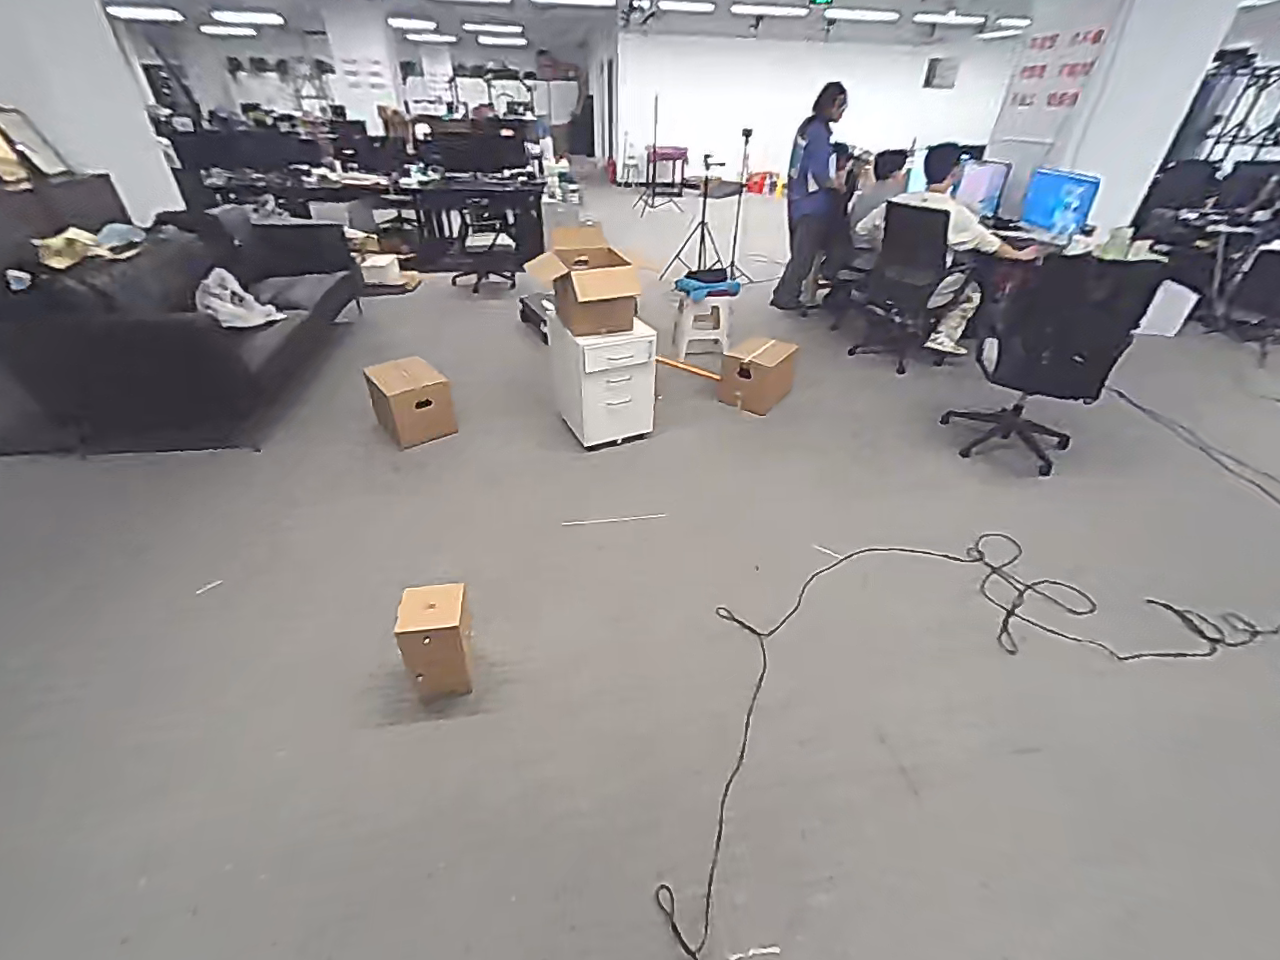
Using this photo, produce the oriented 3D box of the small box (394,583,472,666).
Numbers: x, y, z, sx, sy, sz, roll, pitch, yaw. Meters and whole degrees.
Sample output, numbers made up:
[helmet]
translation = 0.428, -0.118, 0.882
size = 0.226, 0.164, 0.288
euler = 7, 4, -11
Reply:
[small box]
translation = -0.604, 0.431, 1.599
size = 0.179, 0.176, 0.168
euler = -4, 36, -9
